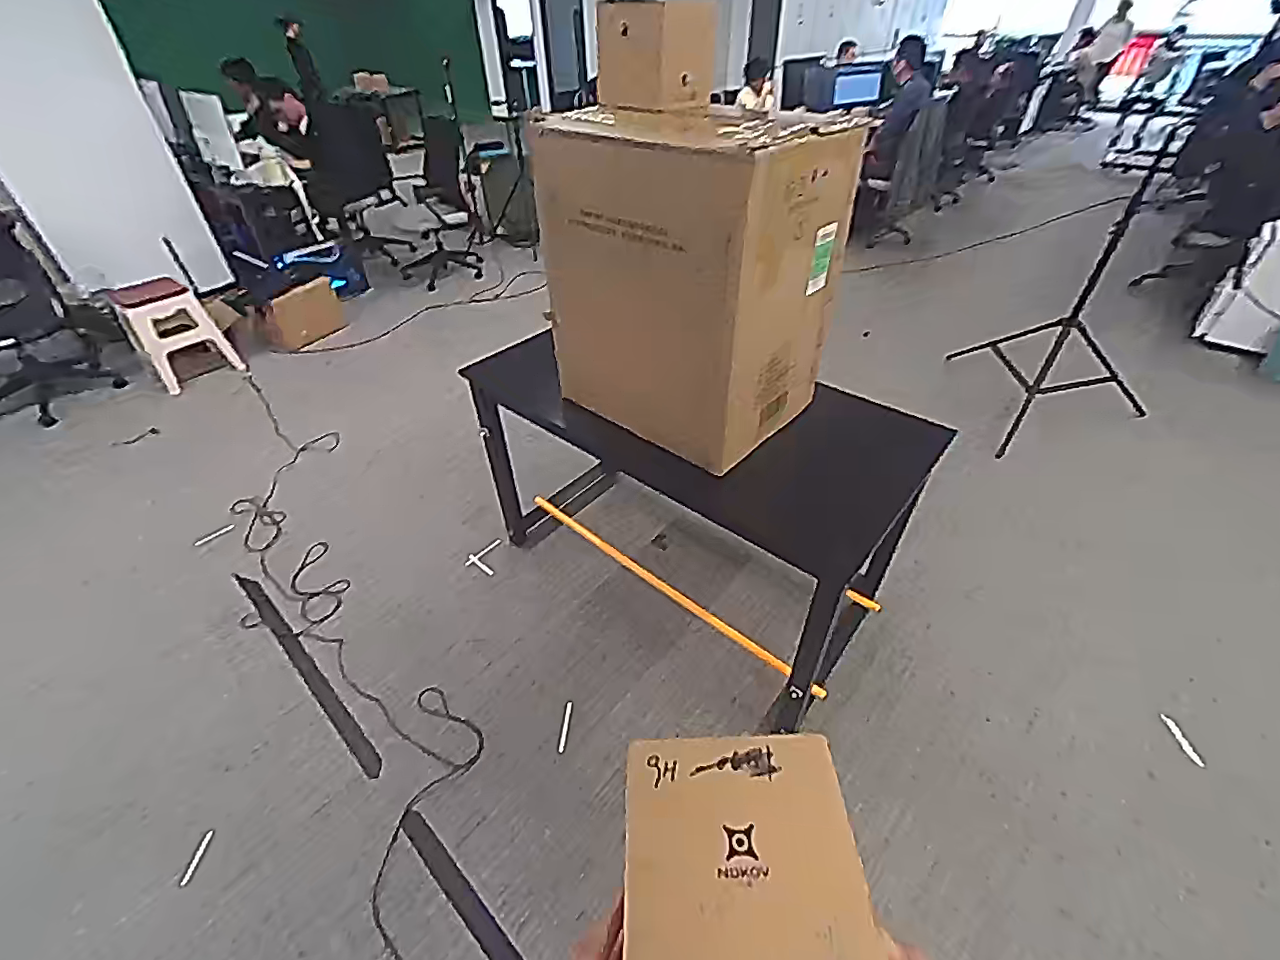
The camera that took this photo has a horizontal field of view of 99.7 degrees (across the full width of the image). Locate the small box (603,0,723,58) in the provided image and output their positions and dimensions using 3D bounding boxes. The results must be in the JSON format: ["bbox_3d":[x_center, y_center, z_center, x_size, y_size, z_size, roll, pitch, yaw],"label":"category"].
[{"bbox_3d":[0.041,-0.899,1.007,0.179,0.176,0.168,31,49,30],"label":"small box"}]
